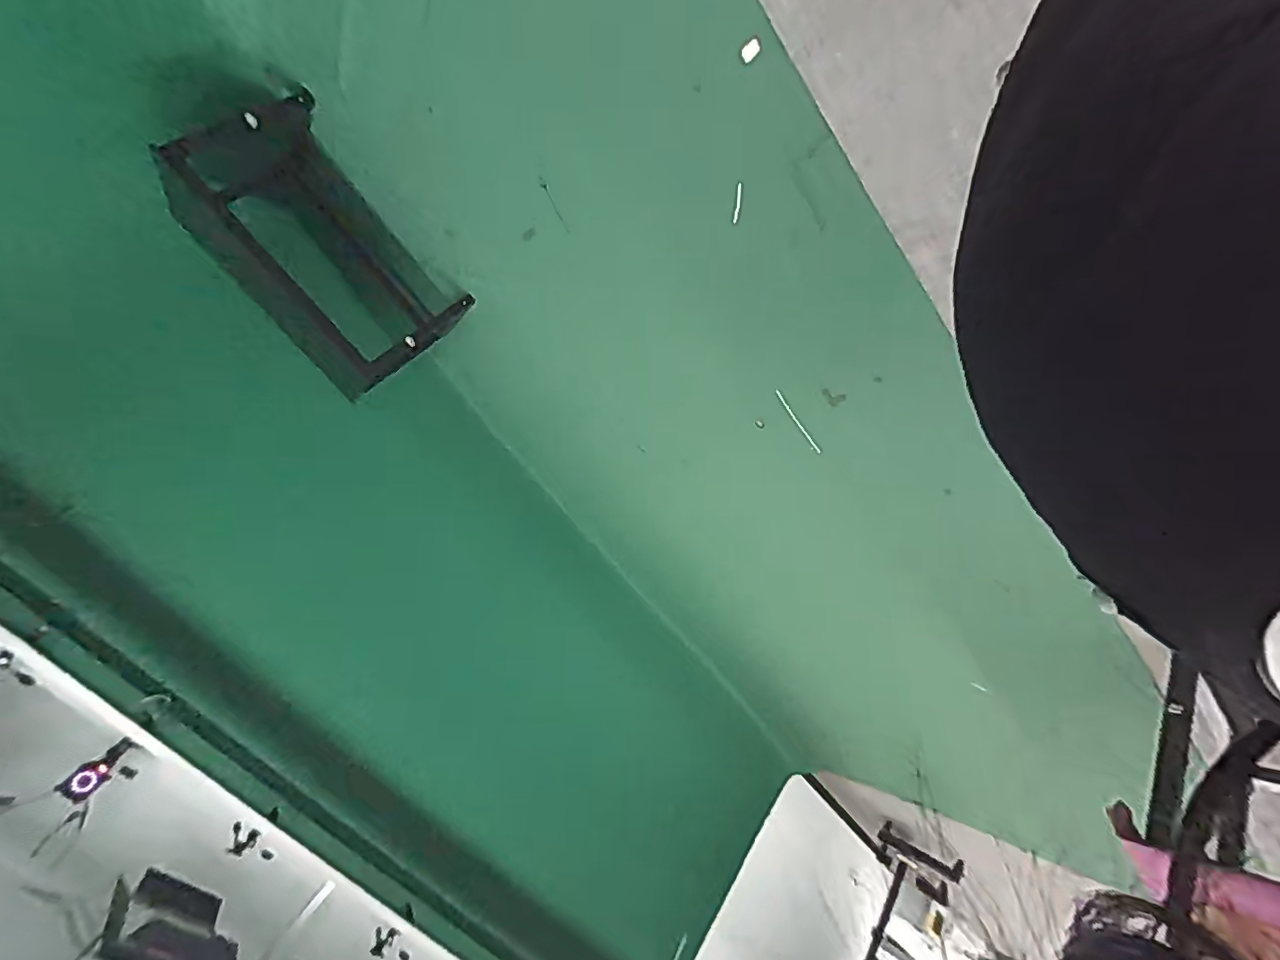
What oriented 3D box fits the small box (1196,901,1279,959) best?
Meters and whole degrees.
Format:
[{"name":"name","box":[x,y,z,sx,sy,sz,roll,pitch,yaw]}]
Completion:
[{"name":"small box","box":[1.406,1.115,1.228,0.168,0.176,0.179,50,151,-18]}]
